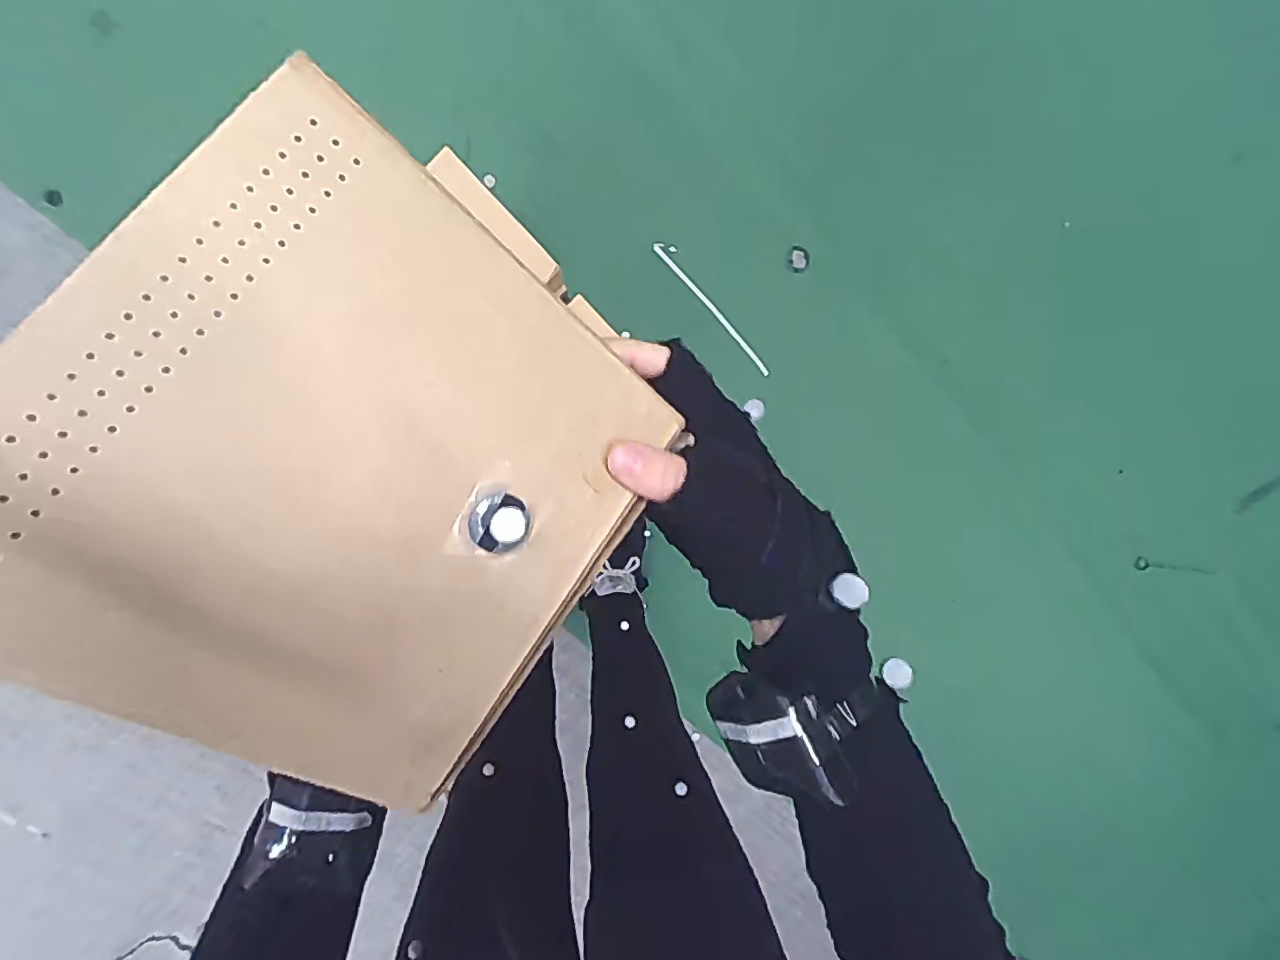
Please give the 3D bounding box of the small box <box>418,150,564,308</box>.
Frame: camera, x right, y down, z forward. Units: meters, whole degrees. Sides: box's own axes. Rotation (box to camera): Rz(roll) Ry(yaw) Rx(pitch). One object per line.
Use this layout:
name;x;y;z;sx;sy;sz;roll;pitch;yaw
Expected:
small box;-0.216;-0.270;0.698;0.168;0.176;0.179;-44;105;5

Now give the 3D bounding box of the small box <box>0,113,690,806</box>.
small box;-0.118;-0.007;0.238;0.176;0.168;0.179;41;78;-28
